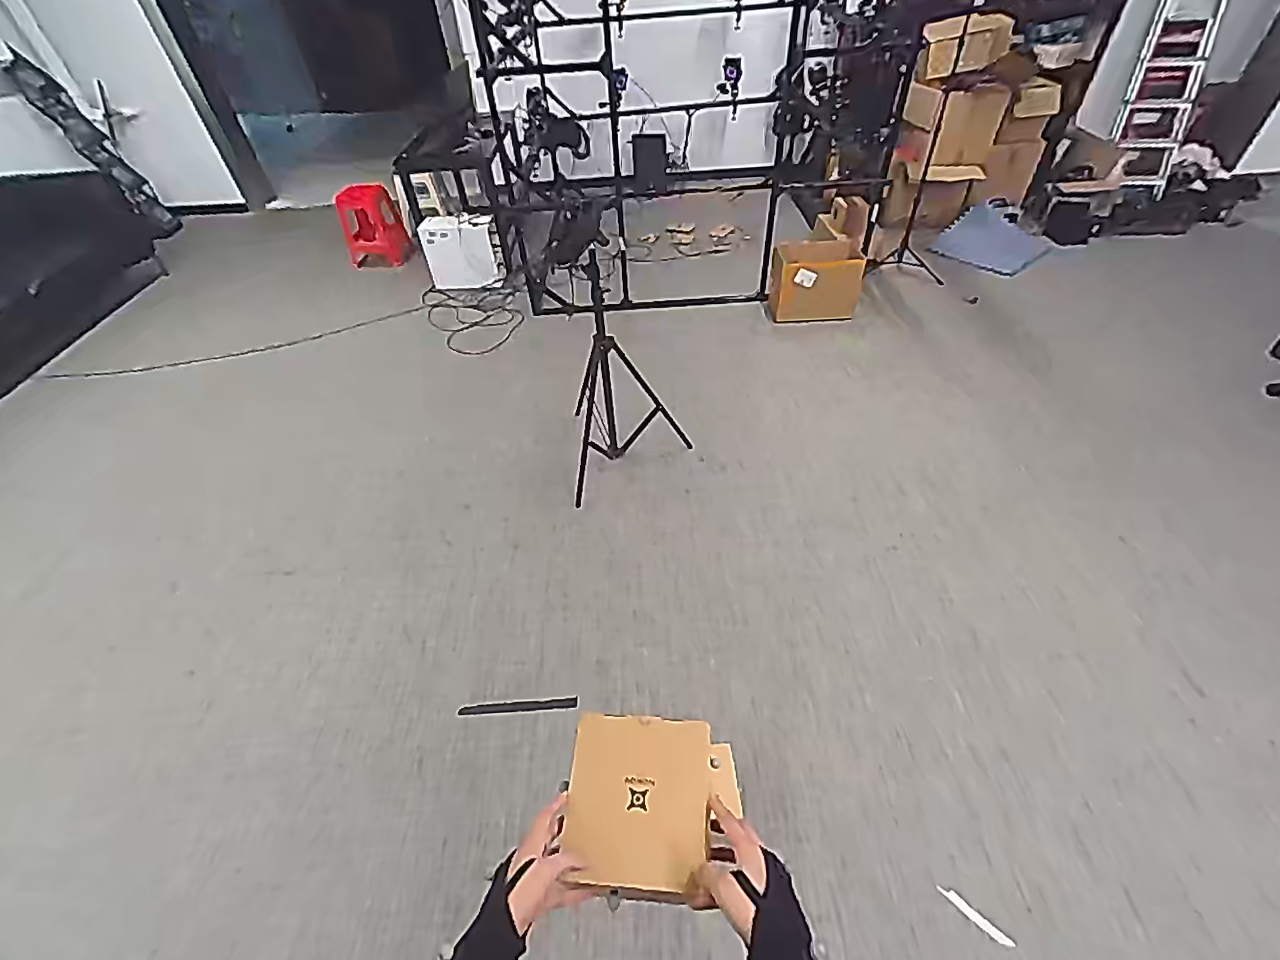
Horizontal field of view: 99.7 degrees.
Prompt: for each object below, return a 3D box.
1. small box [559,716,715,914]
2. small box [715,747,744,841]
[{"bbox_3d":[0.006,0.412,0.663,0.168,0.176,0.179,2,48,4],"label":"small box"},{"bbox_3d":[0.162,0.804,1.371,0.168,0.176,0.179,-5,44,-1],"label":"small box"}]
